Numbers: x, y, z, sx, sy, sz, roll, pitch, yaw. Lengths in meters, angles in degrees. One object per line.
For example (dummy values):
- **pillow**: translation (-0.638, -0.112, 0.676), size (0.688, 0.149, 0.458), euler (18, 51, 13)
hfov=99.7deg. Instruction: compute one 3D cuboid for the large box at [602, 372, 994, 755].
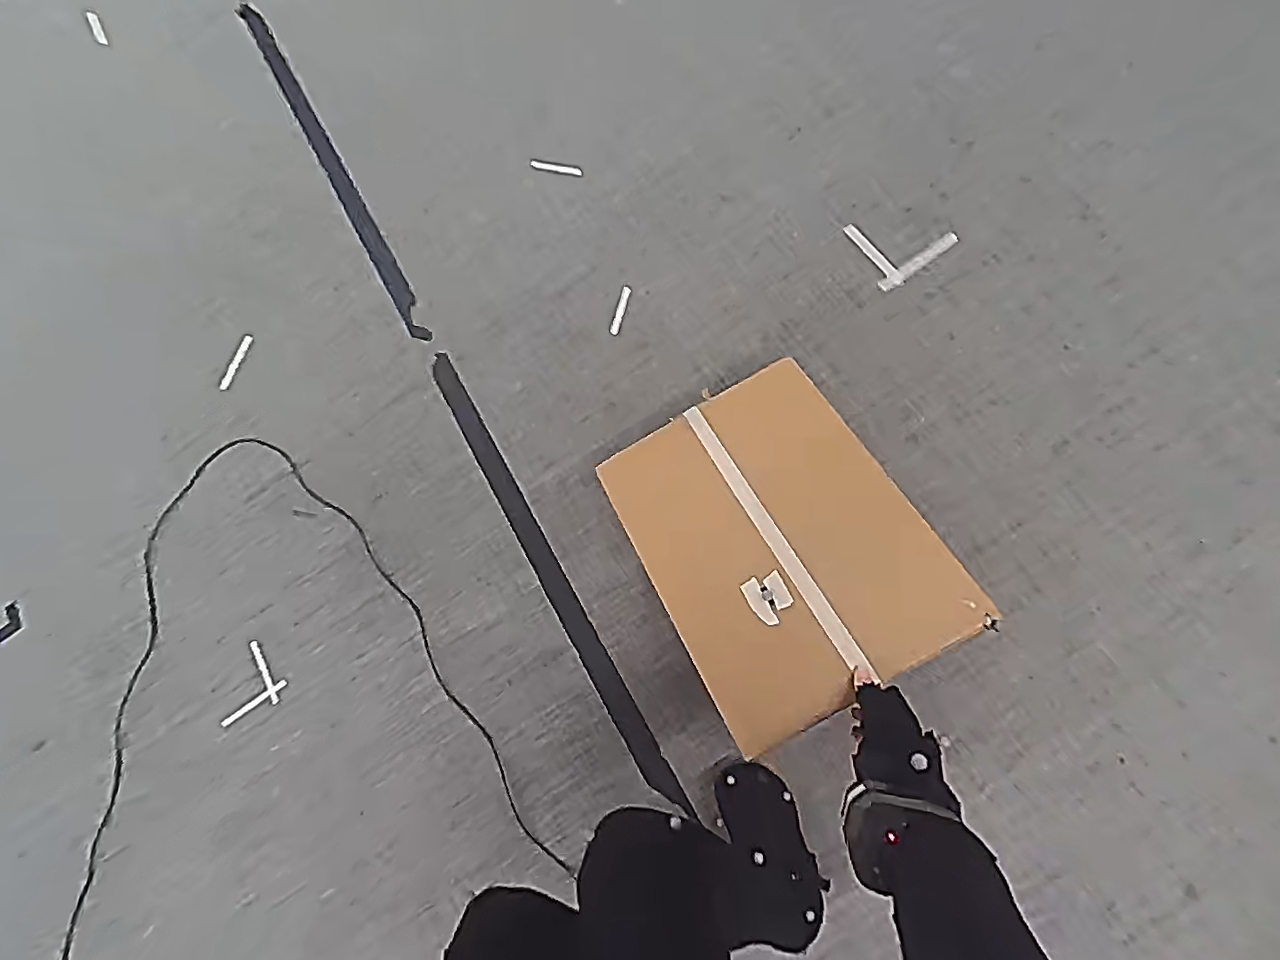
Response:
- **large box**: translation (0.196, 0.128, 0.800), size (0.320, 0.320, 0.408), euler (-30, 63, 1)
